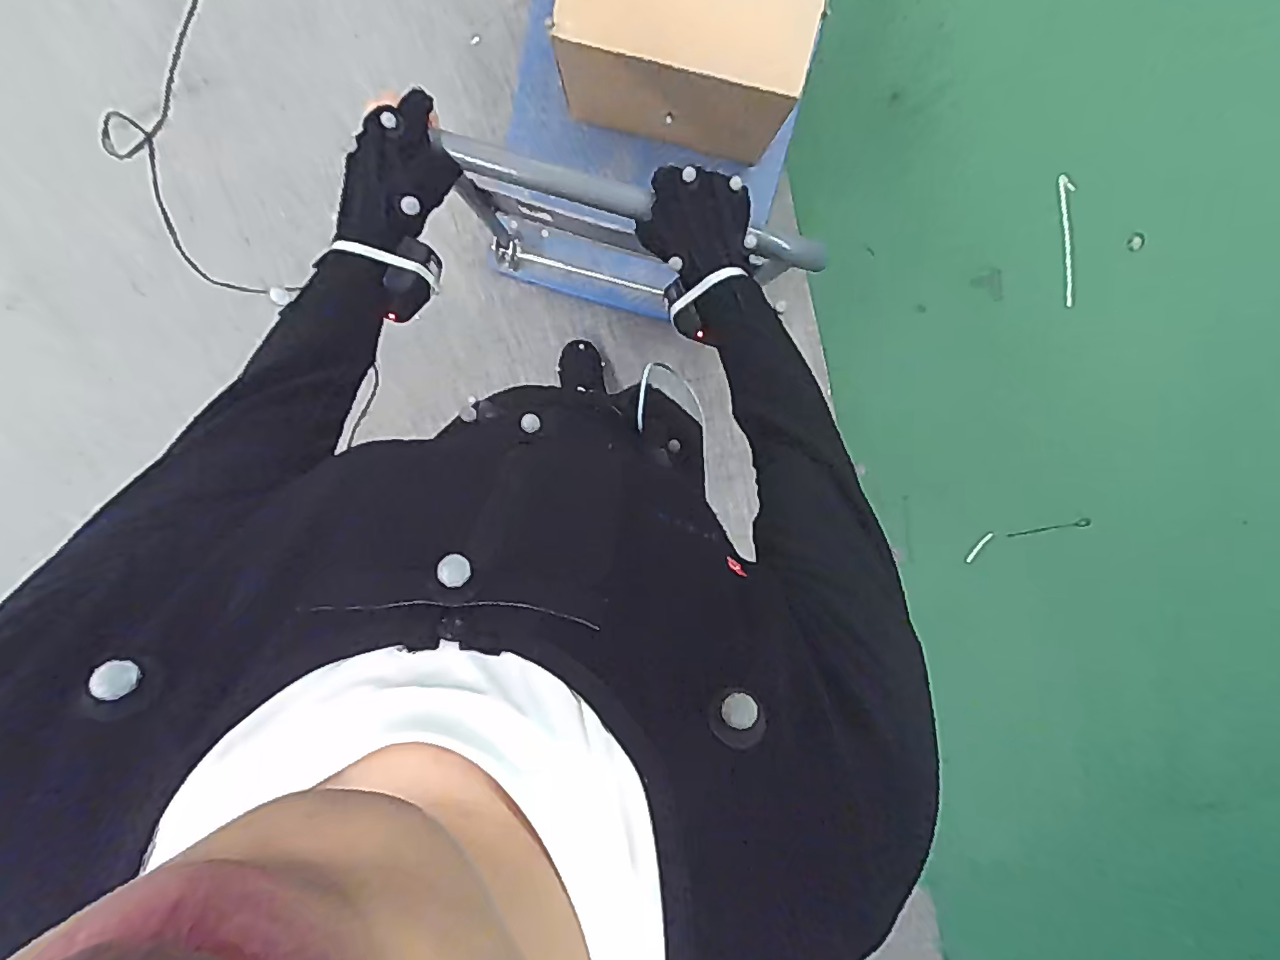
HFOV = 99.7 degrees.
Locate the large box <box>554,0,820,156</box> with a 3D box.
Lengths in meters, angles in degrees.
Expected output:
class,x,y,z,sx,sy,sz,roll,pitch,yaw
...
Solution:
class,x,y,z,sx,sy,sz,roll,pitch,yaw
large box,0.089,-0.830,0.962,0.408,0.320,0.320,12,102,-3
